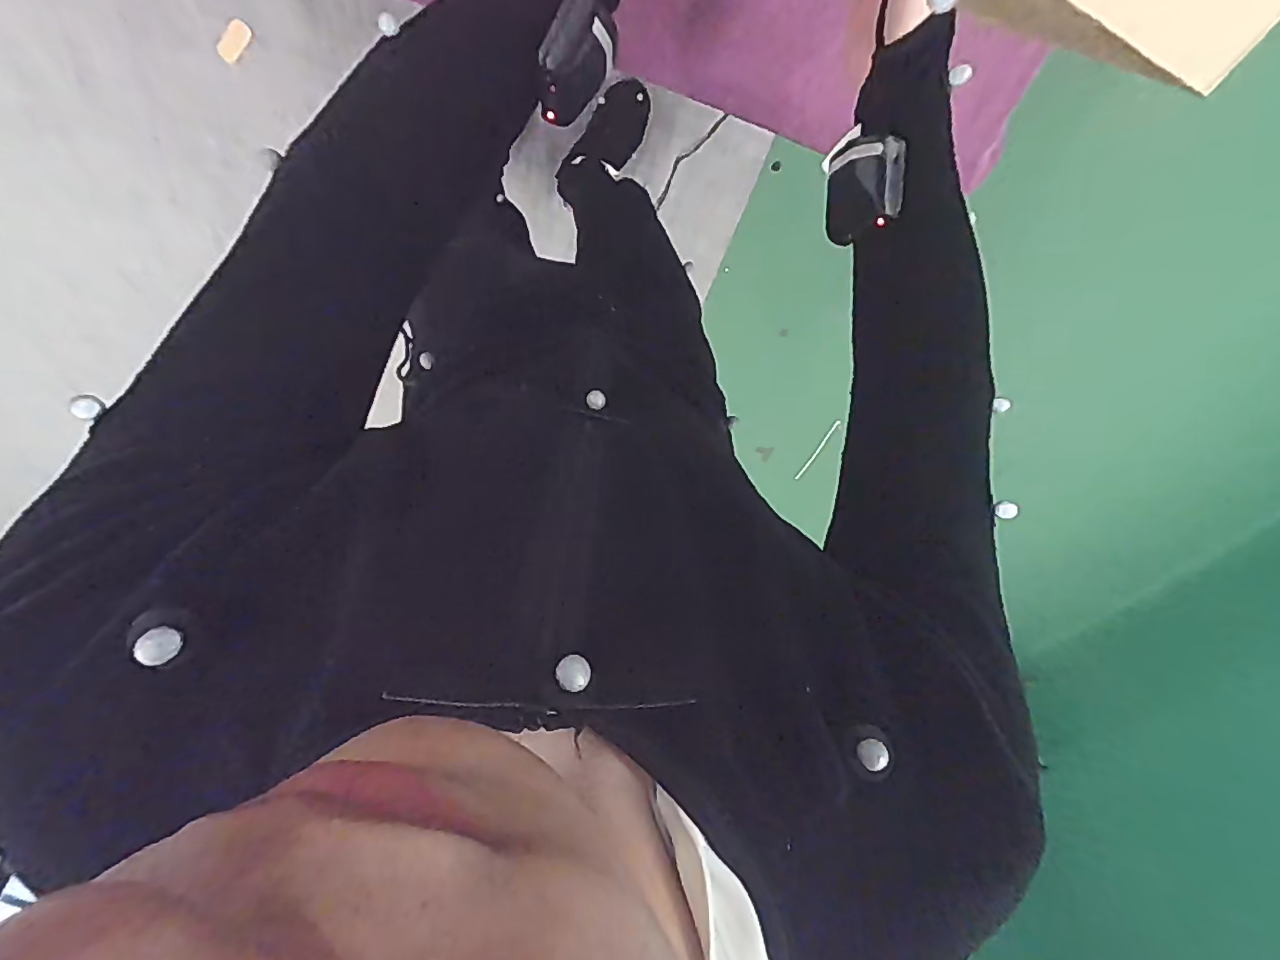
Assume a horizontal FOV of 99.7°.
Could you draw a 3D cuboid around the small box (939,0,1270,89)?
[{"bbox_3d":[0.143,-0.270,0.171,0.179,0.176,0.168,13,136,-18],"label":"small box"}]
